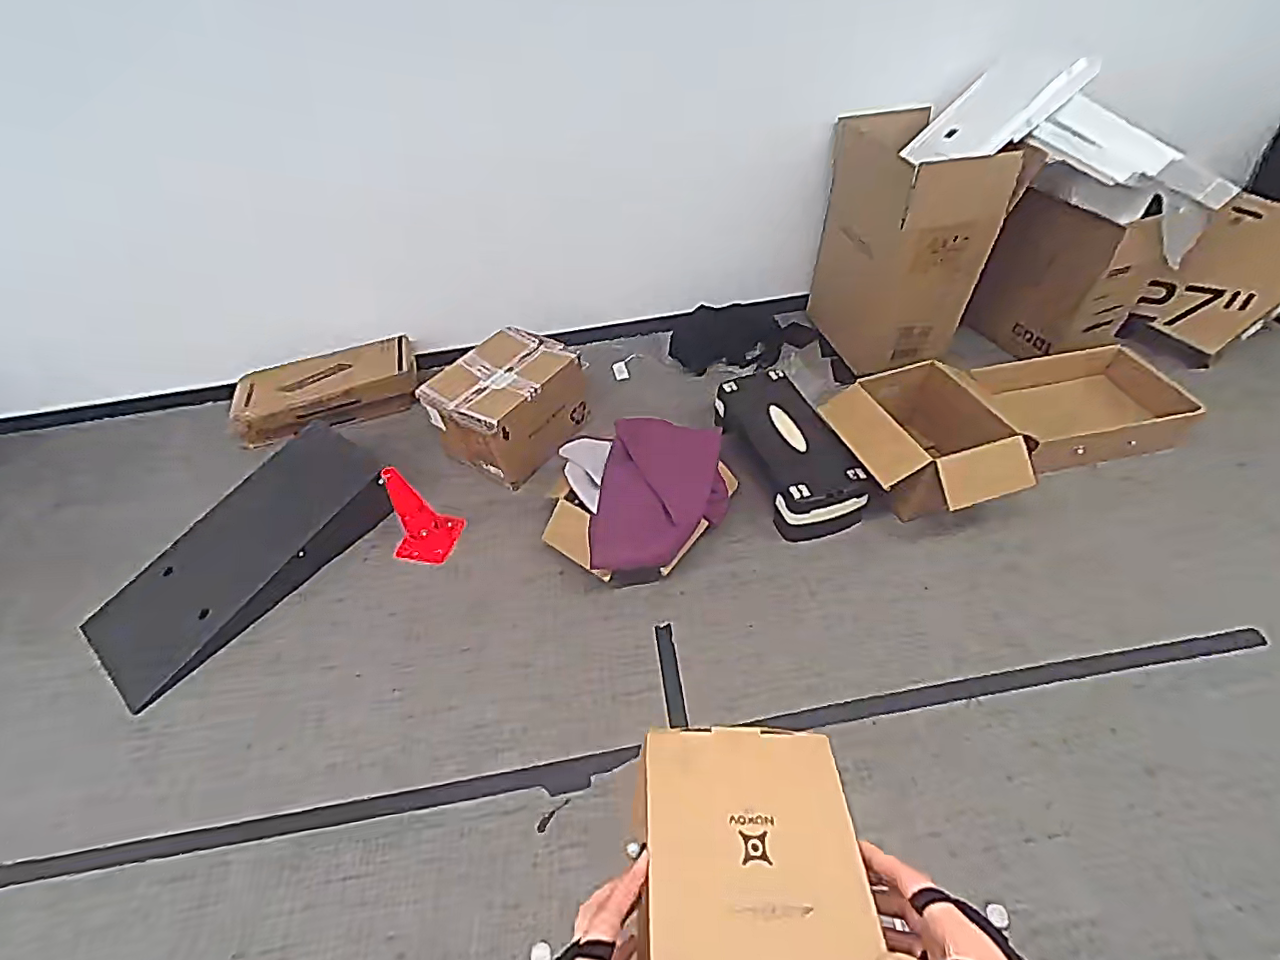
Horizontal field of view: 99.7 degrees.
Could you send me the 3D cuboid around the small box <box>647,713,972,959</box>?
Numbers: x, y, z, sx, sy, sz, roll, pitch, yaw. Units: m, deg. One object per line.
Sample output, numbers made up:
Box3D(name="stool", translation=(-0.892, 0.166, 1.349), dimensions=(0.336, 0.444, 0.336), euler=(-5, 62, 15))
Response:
Box3D(name="small box", translation=(0.096, 0.293, 0.387), dimensions=(0.168, 0.176, 0.179), euler=(3, 40, -4))
